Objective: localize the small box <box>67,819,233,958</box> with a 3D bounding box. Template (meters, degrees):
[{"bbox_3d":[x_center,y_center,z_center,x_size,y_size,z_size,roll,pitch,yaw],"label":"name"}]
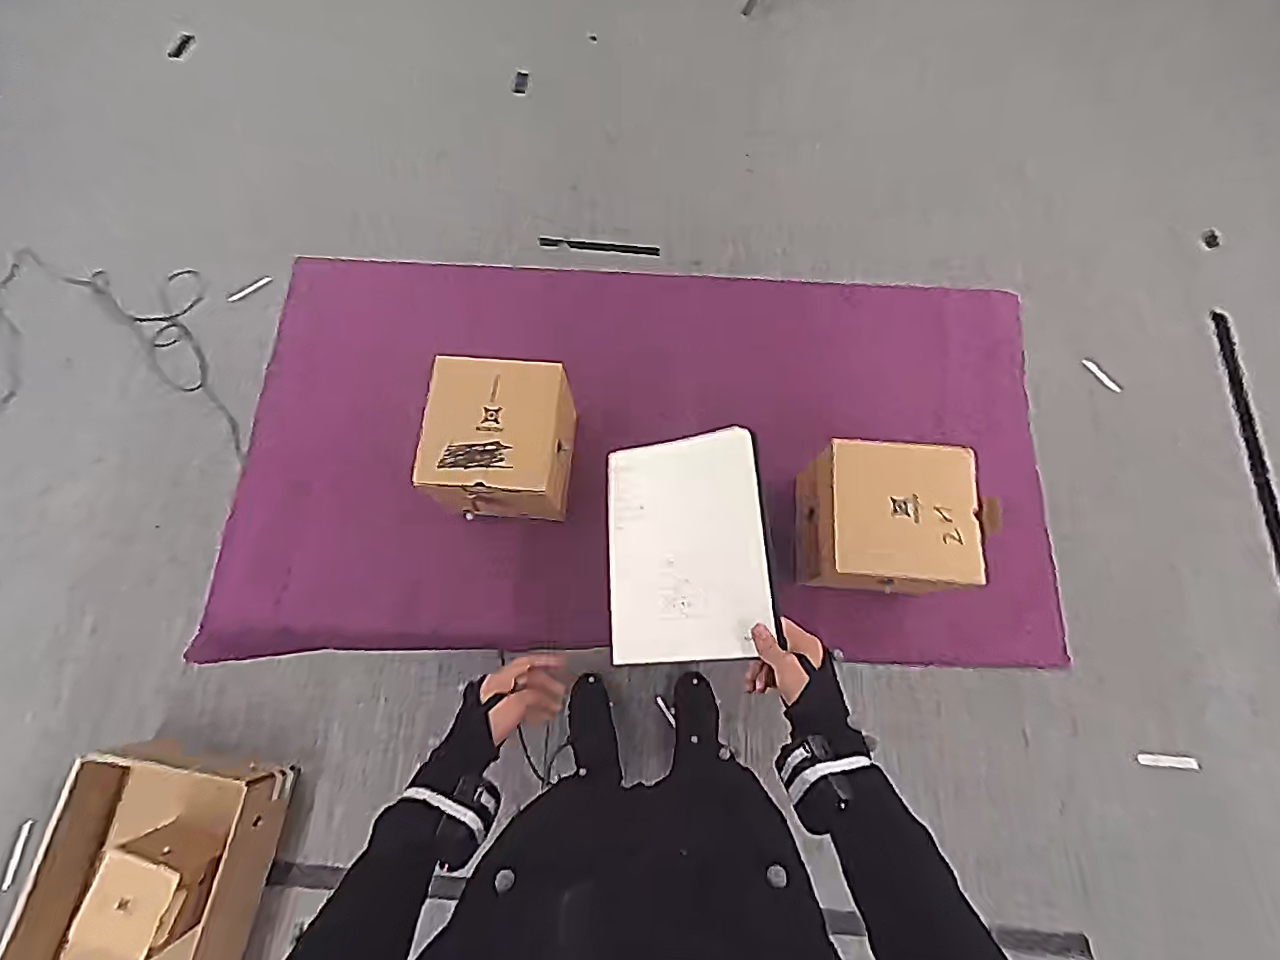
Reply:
[{"bbox_3d":[-1.058,0.882,1.188,0.179,0.176,0.168,18,75,4],"label":"small box"}]

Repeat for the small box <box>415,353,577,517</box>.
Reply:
[{"bbox_3d":[-0.183,-0.052,0.744,0.168,0.176,0.179,5,74,1],"label":"small box"}]

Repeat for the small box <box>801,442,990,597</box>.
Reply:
[{"bbox_3d":[0.318,0.060,0.712,0.179,0.176,0.168,5,74,2],"label":"small box"}]
